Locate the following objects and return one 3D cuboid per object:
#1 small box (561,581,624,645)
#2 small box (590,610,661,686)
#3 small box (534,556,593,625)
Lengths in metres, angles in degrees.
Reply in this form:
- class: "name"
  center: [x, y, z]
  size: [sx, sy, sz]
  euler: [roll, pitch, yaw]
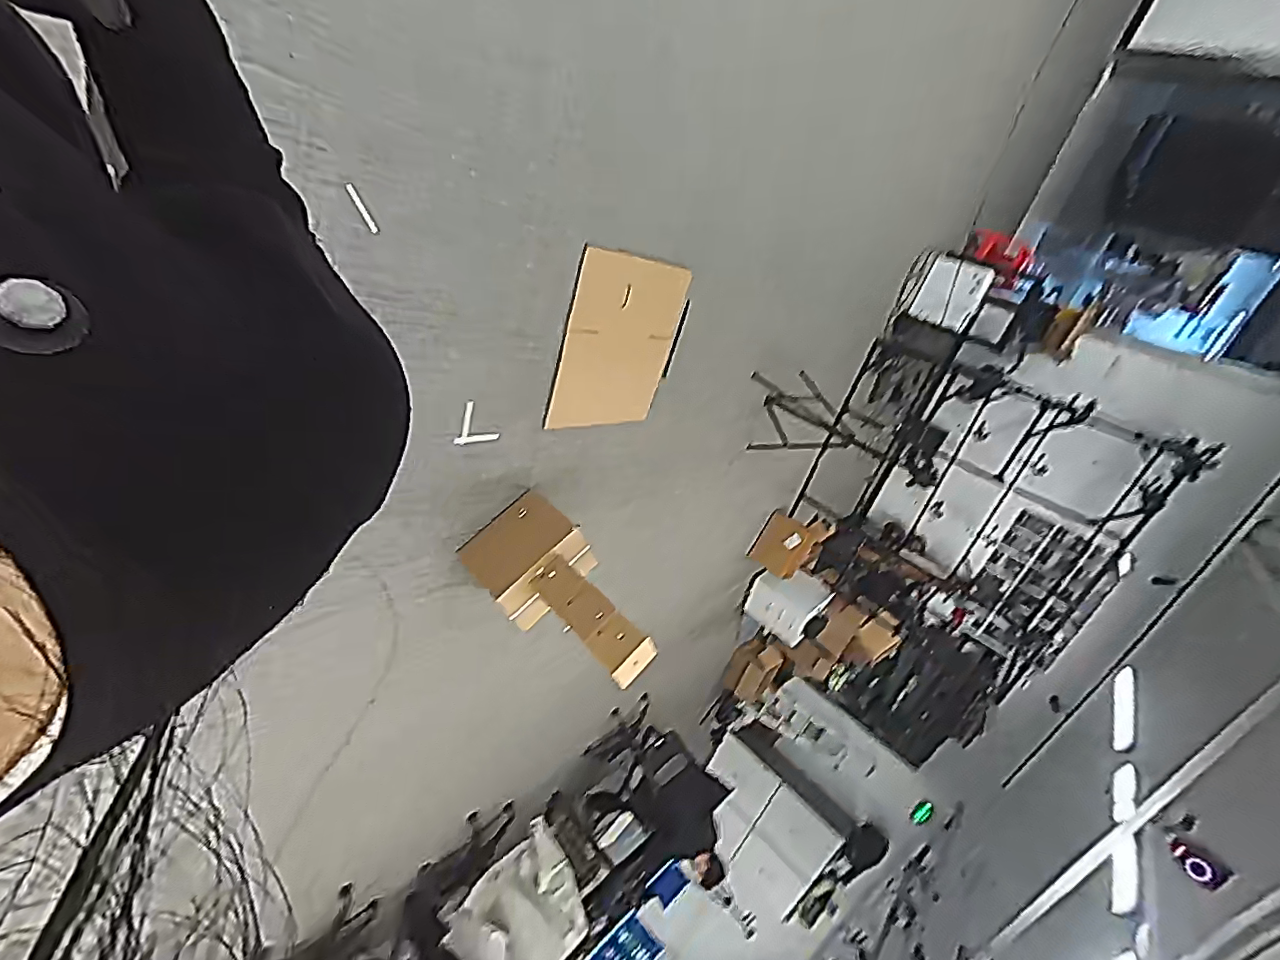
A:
- class: "small box"
  center: [-0.162, 0.504, 1.996]
  size: [0.168, 0.176, 0.179]
  euler: [-43, 146, -17]
- class: "small box"
  center: [-0.053, 0.585, 1.905]
  size: [0.168, 0.176, 0.179]
  euler: [-44, 146, -17]
- class: "small box"
  center: [-0.276, 0.423, 2.082]
  size: [0.168, 0.176, 0.179]
  euler: [-43, 145, -17]
